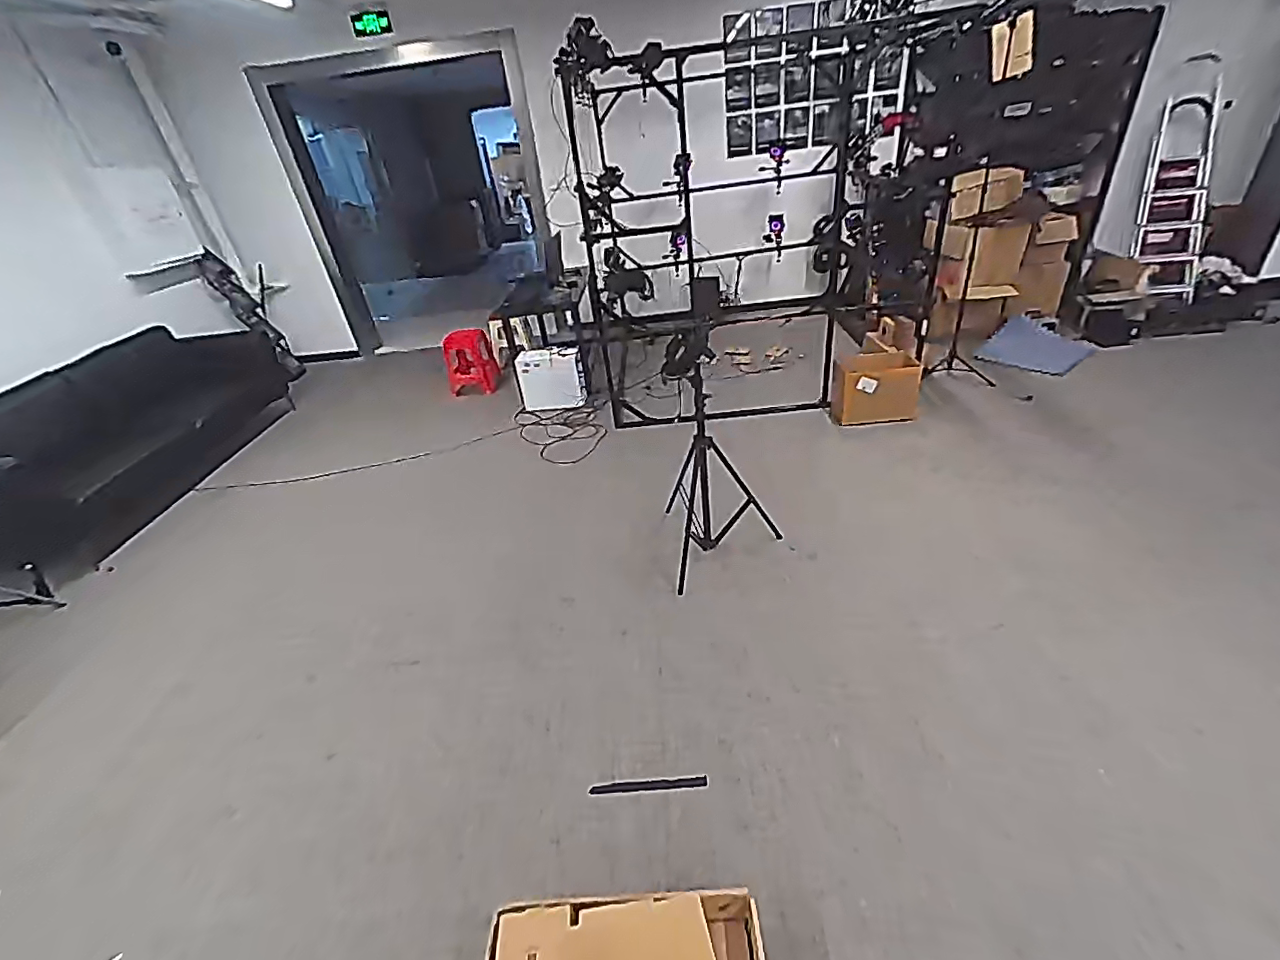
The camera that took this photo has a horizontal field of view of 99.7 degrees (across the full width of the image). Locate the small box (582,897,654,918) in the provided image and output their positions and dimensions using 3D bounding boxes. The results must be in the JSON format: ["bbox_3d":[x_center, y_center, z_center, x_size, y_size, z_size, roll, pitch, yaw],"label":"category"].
[{"bbox_3d":[-0.032,1.072,1.209,0.179,0.176,0.168,-8,33,-1],"label":"small box"}]

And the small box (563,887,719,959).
[{"bbox_3d":[0.010,0.598,0.596,0.168,0.176,0.179,-9,38,-10],"label":"small box"}]
